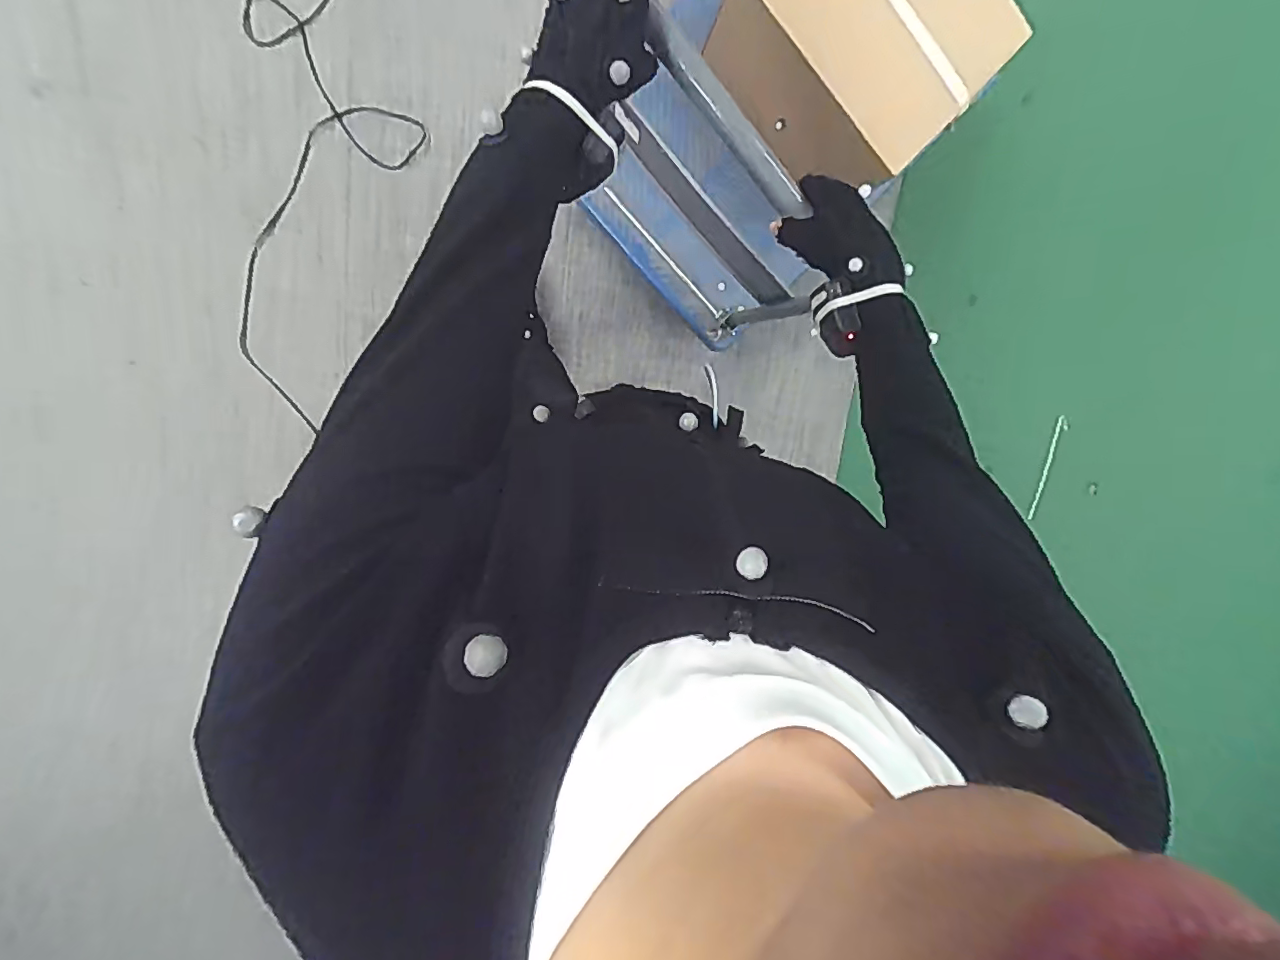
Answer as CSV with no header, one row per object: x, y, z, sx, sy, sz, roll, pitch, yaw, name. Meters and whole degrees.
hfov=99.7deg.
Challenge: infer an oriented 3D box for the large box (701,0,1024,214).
0.380,-0.793,1.010,0.408,0.320,0.320,43,95,-13,large box
